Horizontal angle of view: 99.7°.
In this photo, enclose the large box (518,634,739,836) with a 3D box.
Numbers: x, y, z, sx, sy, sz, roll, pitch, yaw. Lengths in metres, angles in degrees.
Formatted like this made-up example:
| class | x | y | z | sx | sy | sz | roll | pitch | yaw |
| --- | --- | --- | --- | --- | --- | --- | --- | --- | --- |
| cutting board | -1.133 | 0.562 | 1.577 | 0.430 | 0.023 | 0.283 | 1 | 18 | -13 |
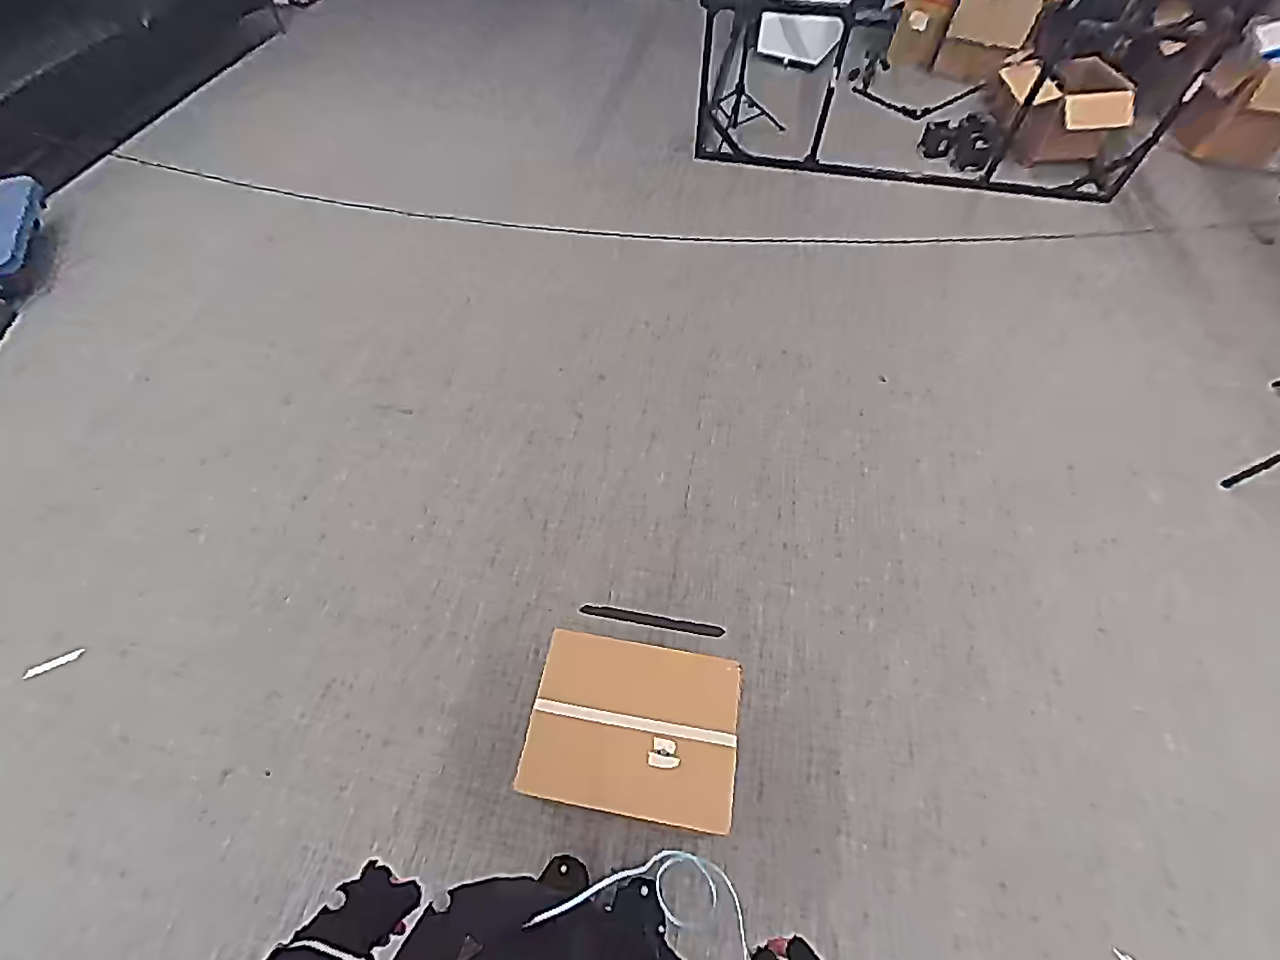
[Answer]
| class | x | y | z | sx | sy | sz | roll | pitch | yaw |
| --- | --- | --- | --- | --- | --- | --- | --- | --- | --- |
| large box | -0.015 | 0.568 | 1.193 | 0.408 | 0.320 | 0.320 | 9 | 57 | 4 |
